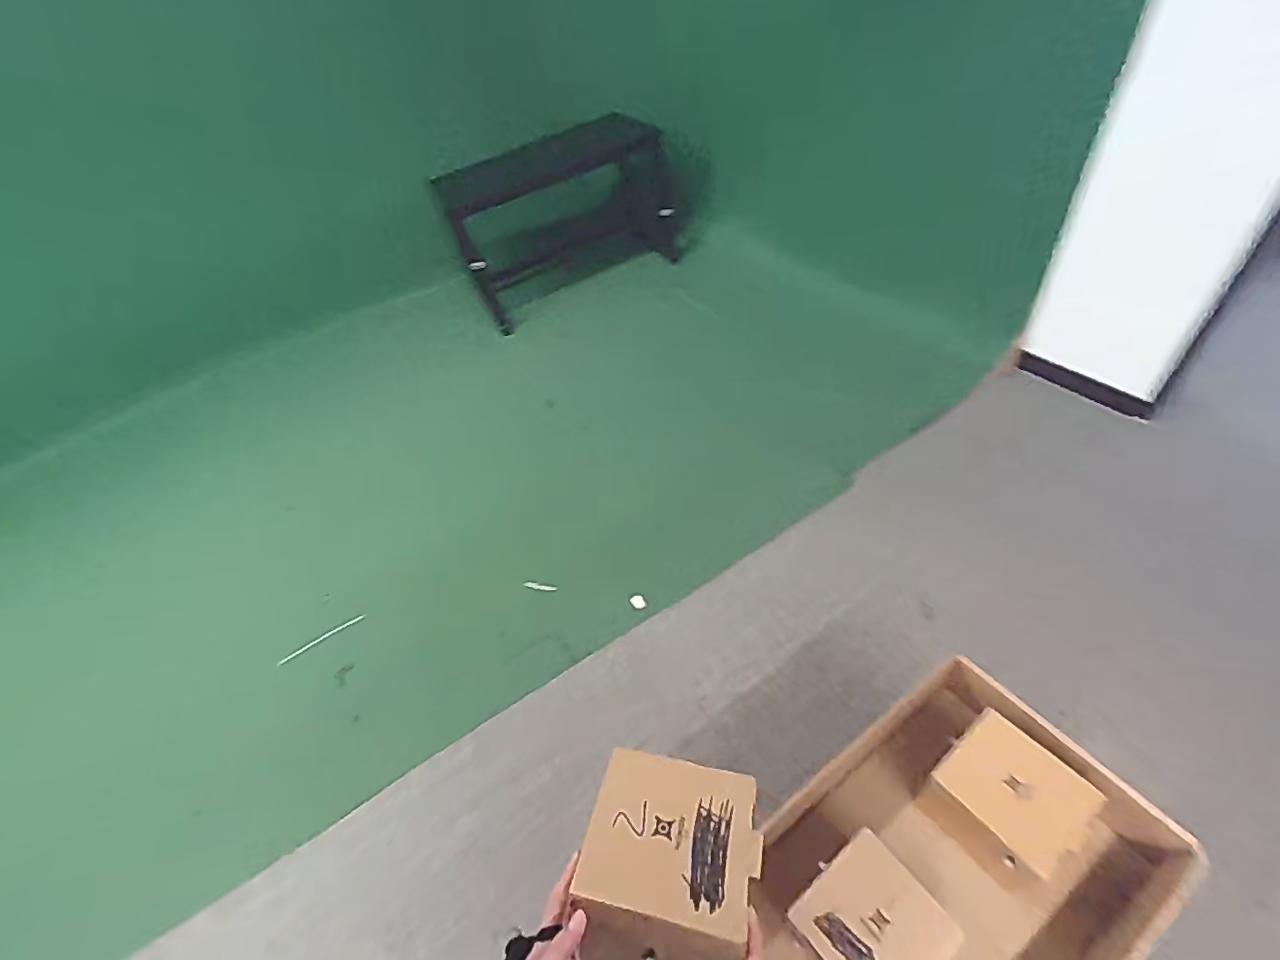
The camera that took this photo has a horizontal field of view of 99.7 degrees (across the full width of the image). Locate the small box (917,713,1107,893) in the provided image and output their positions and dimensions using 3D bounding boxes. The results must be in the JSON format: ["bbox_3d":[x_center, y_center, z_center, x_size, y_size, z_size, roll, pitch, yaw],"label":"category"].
[{"bbox_3d":[0.587,0.527,0.881,0.168,0.176,0.179,-34,50,-19],"label":"small box"}]
